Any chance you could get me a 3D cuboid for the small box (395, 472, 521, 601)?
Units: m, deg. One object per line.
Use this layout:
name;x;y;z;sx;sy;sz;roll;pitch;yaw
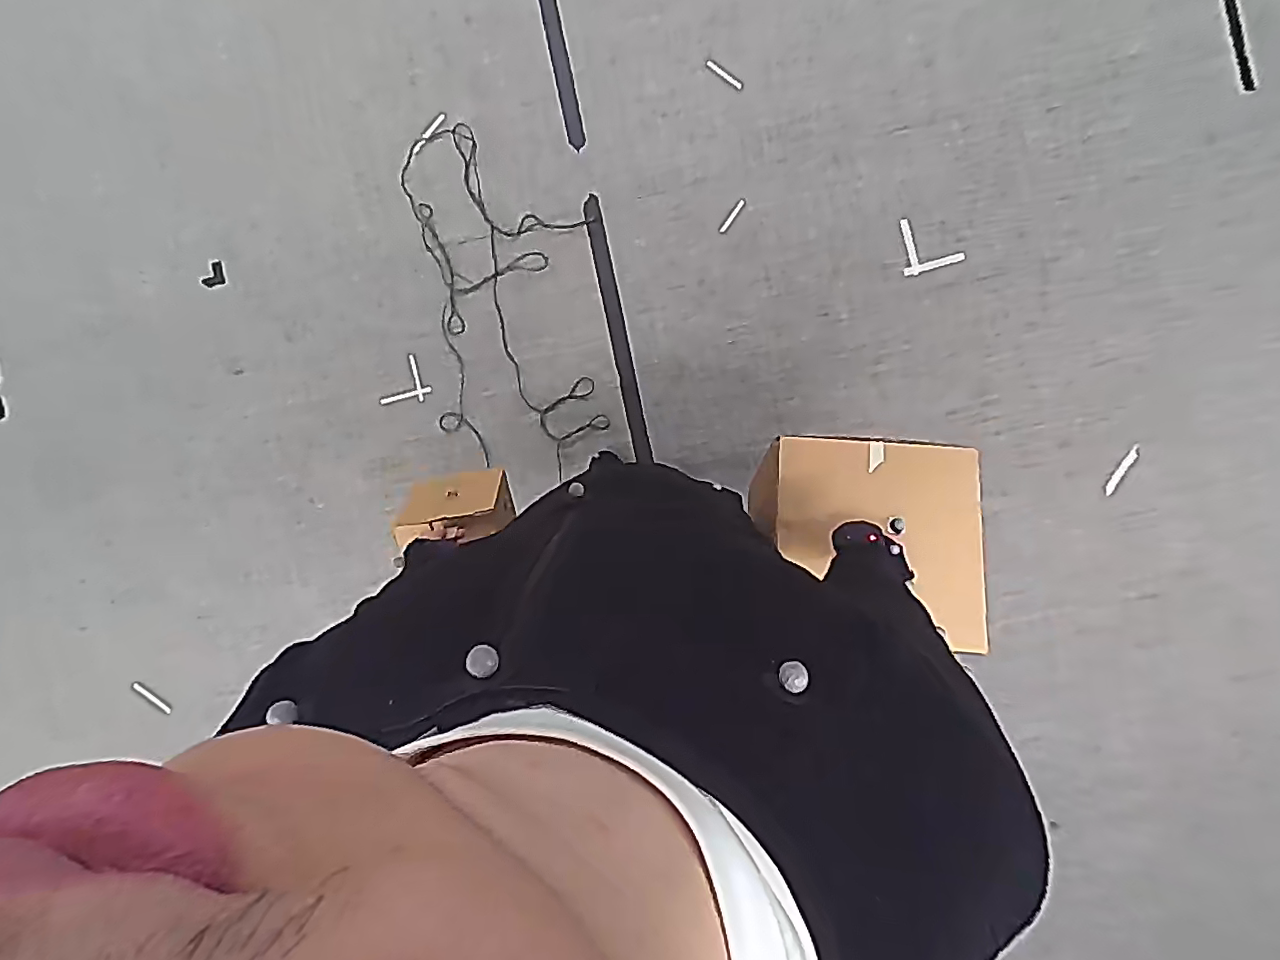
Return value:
small box;-0.320;0.106;0.992;0.168;0.179;0.176;-10;114;-4
